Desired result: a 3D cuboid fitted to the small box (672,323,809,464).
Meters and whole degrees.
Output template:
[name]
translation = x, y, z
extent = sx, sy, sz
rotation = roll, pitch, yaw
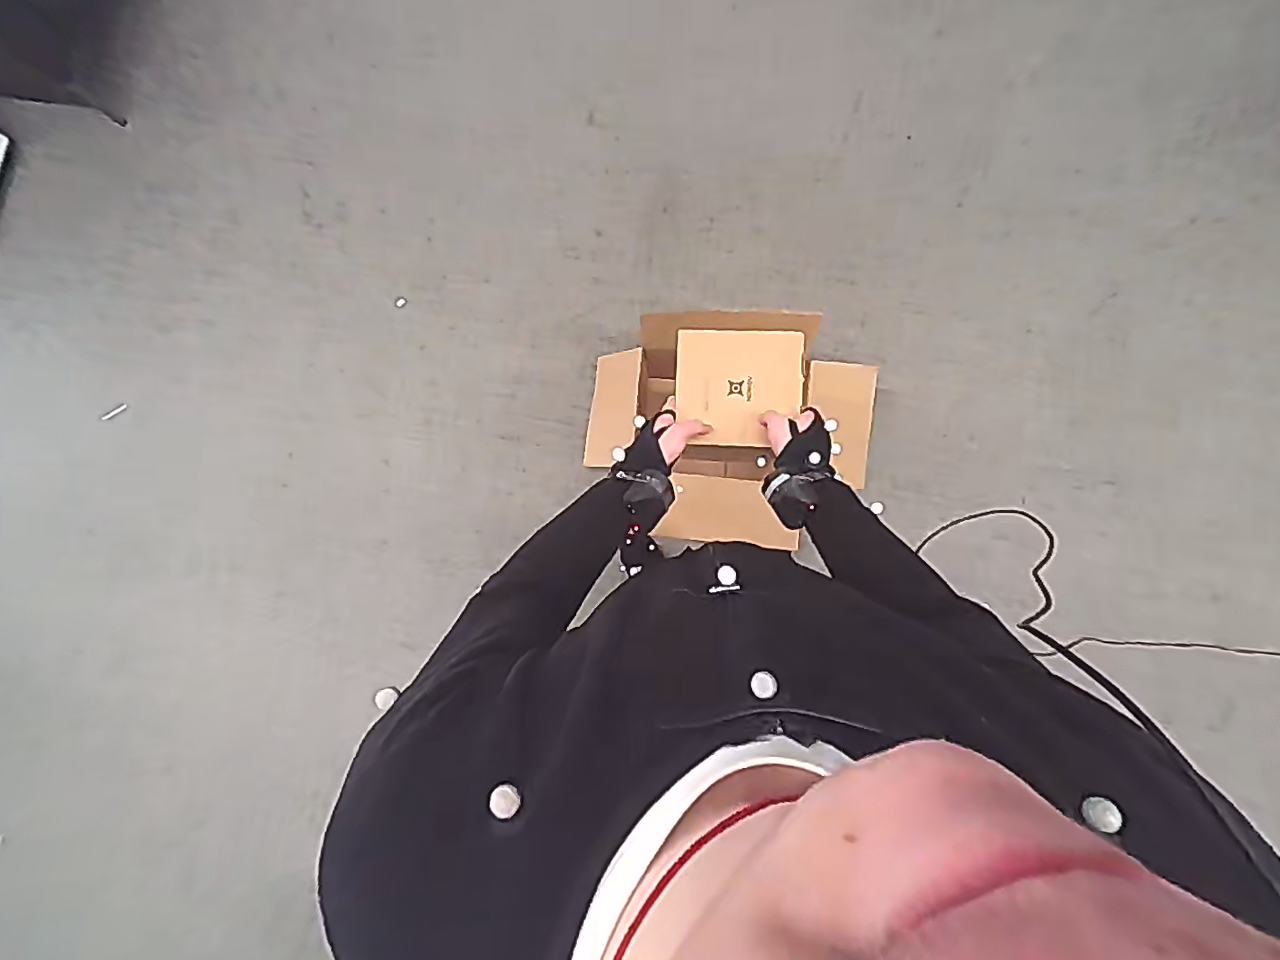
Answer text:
[small box]
translation = 0.144, -0.120, 0.810
extent = 0.179, 0.176, 0.168
rotation = 4, 82, 7
